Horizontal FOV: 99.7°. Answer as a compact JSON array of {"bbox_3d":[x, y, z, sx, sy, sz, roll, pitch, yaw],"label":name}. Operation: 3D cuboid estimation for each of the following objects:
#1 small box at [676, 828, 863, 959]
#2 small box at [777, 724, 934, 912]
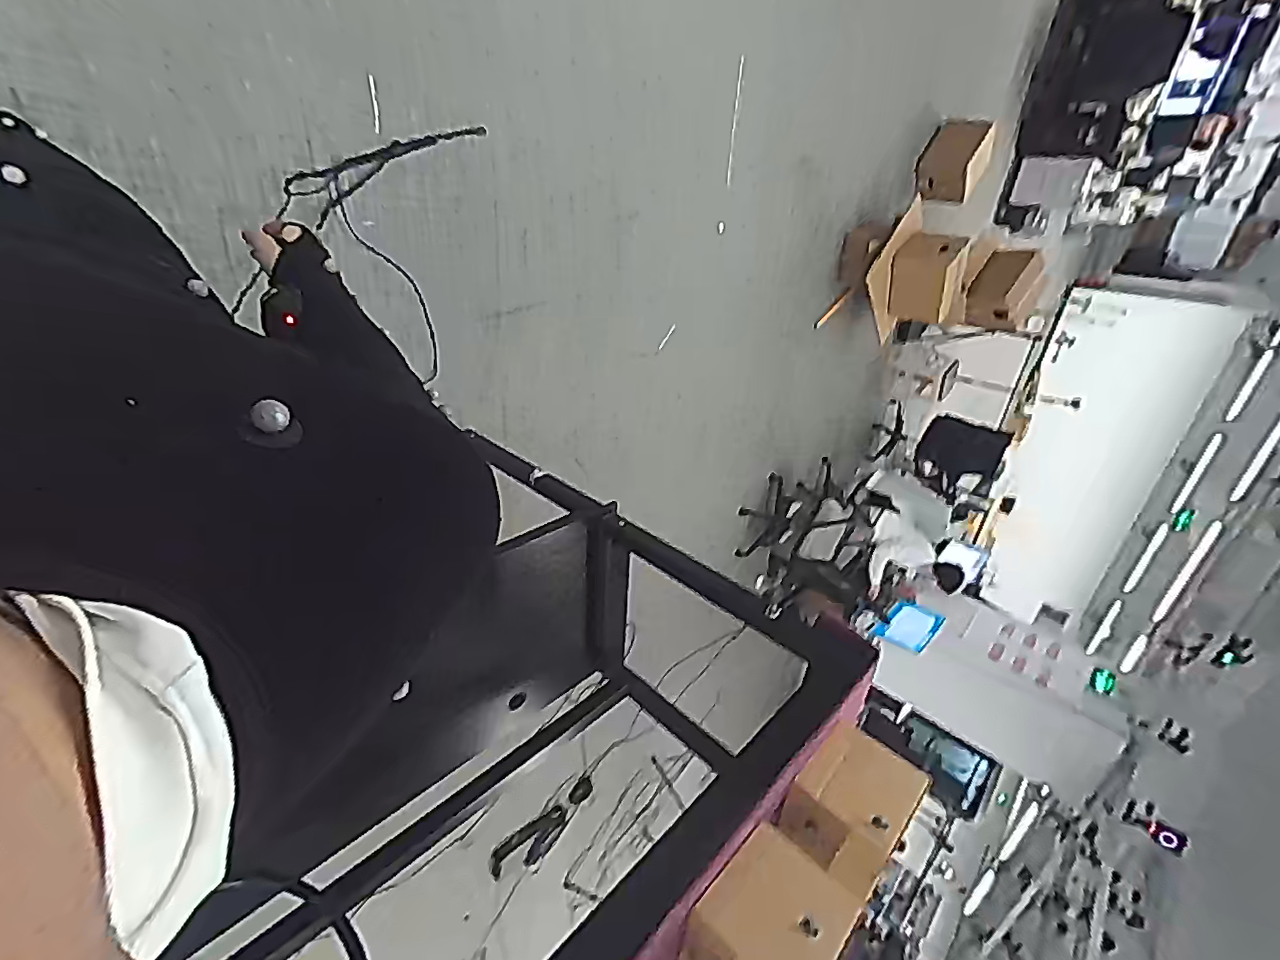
[{"bbox_3d":[0.176,0.645,0.757,0.179,0.176,0.168,-20,127,-41],"label":"small box"},{"bbox_3d":[0.362,0.563,0.924,0.179,0.176,0.168,-25,130,-37],"label":"small box"}]
